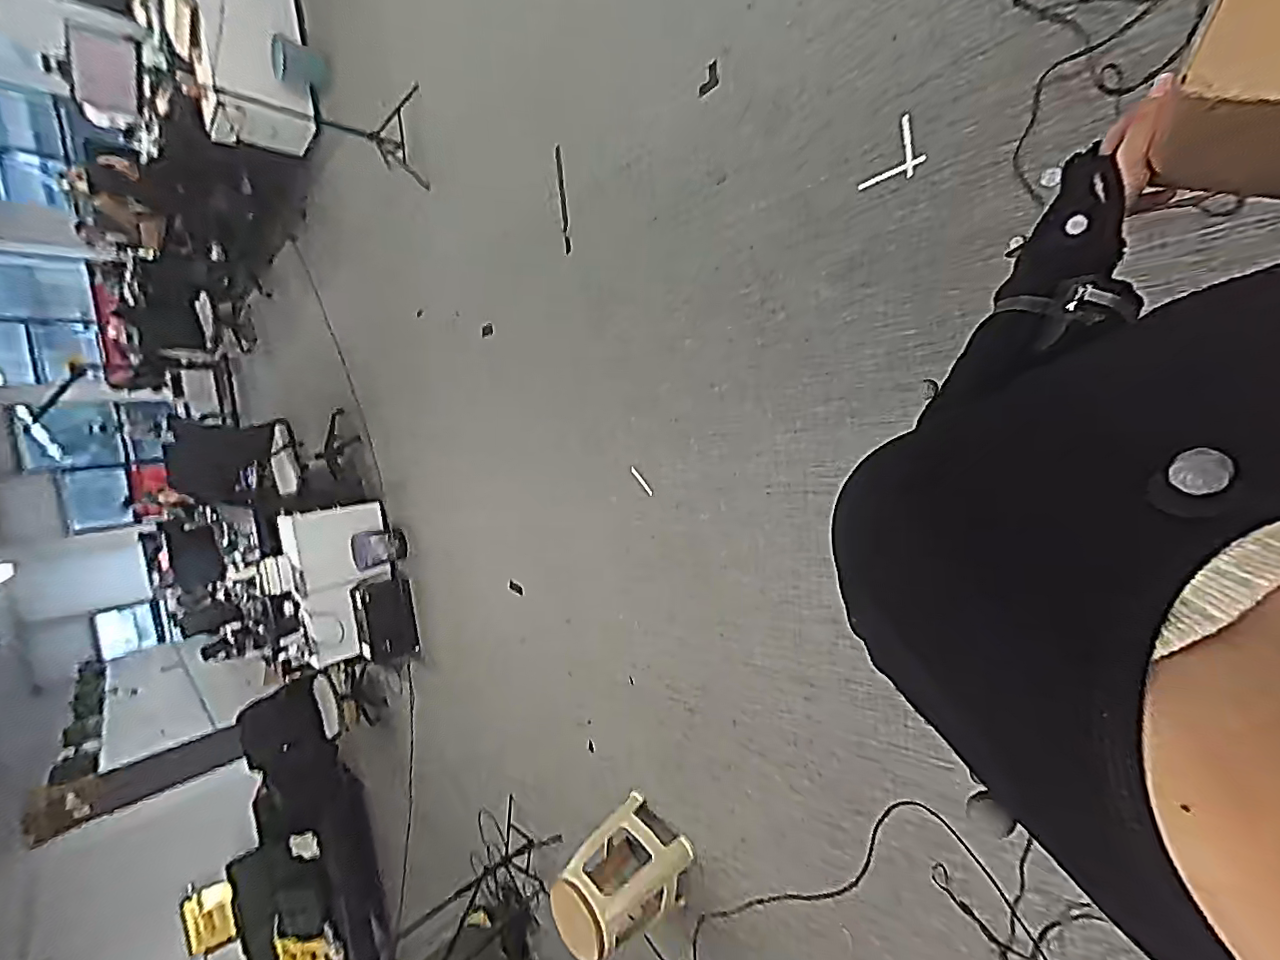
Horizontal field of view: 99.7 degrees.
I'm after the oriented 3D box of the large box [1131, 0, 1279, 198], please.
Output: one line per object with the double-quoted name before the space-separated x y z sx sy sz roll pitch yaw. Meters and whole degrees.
"large box" 0.486 -0.269 0.173 0.408 0.320 0.320 25 122 30
